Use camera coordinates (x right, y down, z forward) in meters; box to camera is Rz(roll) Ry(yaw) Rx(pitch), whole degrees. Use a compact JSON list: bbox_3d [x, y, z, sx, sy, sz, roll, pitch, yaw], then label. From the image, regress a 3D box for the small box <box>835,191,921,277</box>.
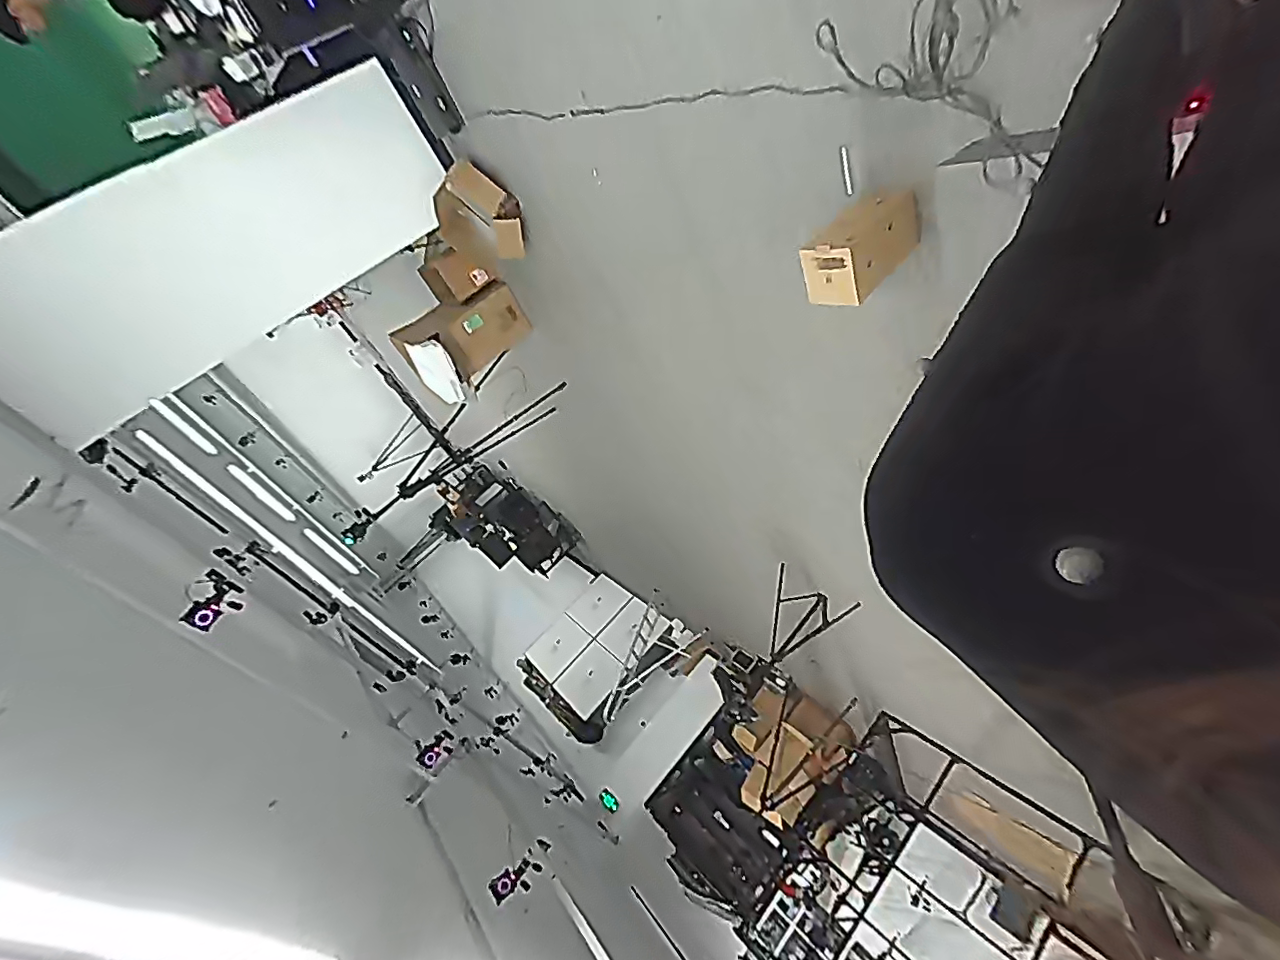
[{"bbox_3d":[0.718,-0.732,1.619,0.168,0.176,0.179,24,152,48],"label":"small box"}]
